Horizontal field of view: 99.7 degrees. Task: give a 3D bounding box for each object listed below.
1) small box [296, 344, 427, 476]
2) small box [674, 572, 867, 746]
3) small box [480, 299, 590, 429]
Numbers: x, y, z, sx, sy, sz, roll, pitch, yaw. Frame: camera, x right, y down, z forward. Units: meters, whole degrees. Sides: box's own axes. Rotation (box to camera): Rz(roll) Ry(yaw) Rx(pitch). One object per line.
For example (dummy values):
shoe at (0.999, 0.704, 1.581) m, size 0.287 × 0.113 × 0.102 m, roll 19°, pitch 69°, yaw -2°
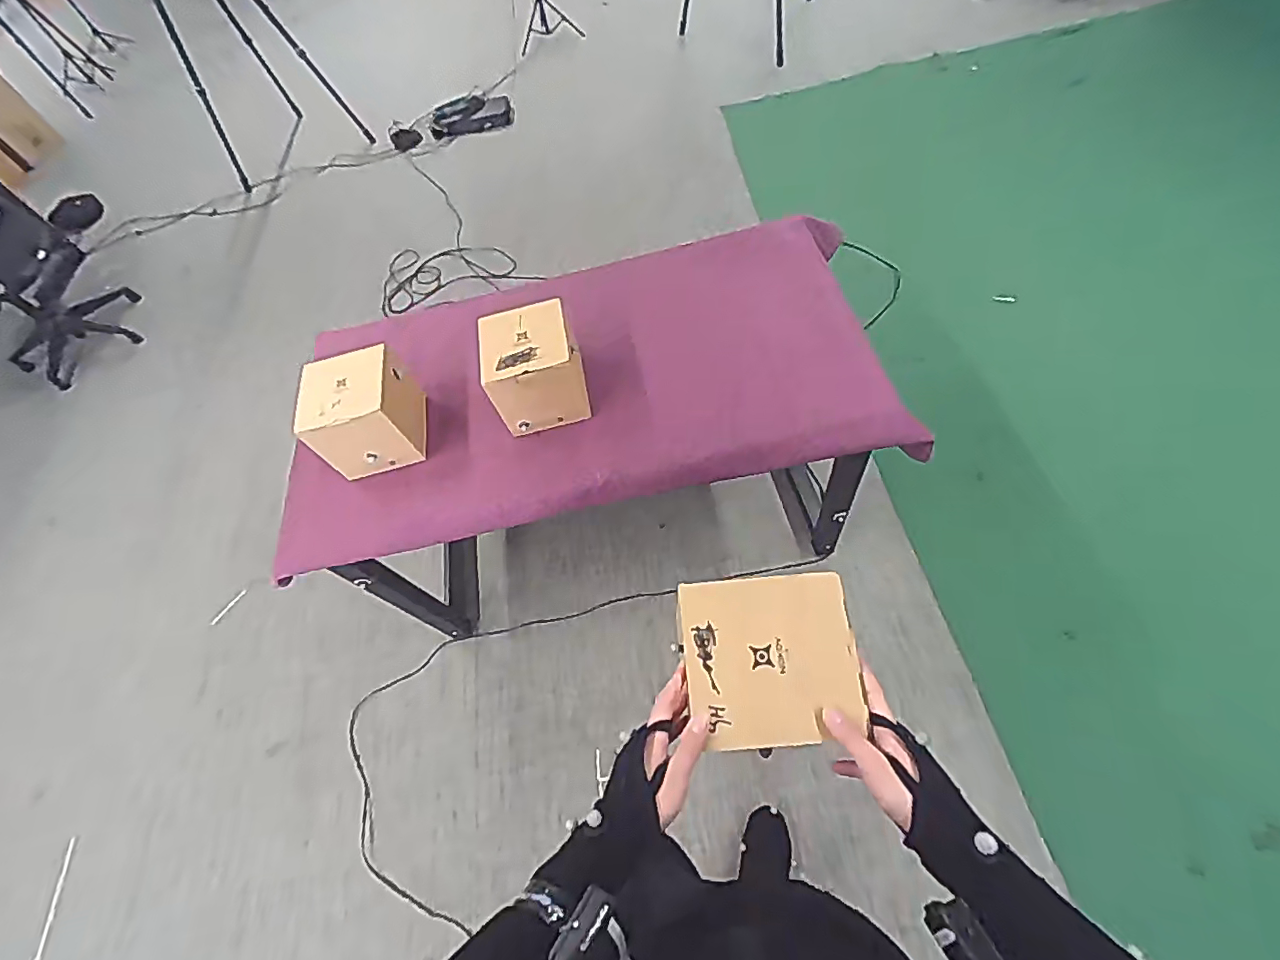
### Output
small box at (-0.541, -0.135, 1.076) m, size 0.168 × 0.176 × 0.179 m, roll -15°, pitch 59°, yaw 2°
small box at (0.133, 0.207, 0.624) m, size 0.179 × 0.176 × 0.168 m, roll -4°, pitch 67°, yaw 2°
small box at (-0.204, -0.218, 1.066) m, size 0.168 × 0.176 × 0.179 m, roll -13°, pitch 58°, yaw 2°
